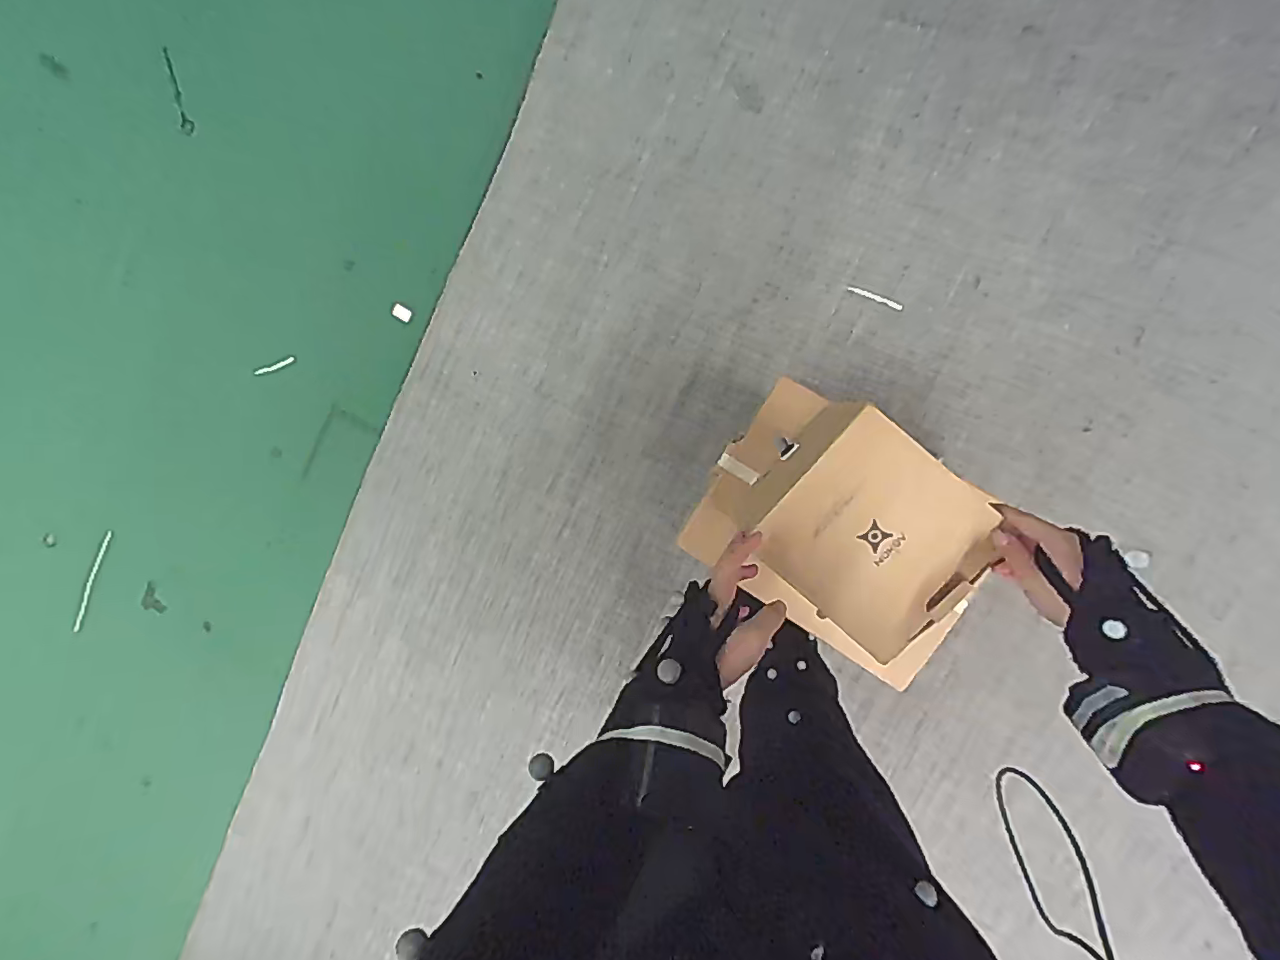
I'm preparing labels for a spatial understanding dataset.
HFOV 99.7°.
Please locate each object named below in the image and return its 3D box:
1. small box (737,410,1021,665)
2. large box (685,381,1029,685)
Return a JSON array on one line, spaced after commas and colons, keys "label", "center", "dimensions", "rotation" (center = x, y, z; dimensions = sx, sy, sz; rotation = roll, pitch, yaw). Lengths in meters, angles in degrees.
[{"label": "small box", "center": [0.218, 0.043, 0.551], "dimensions": [0.179, 0.176, 0.168], "rotation": [40, 99, 1]}, {"label": "large box", "center": [0.335, 0.071, 0.956], "dimensions": [0.408, 0.320, 0.320], "rotation": [33, 99, 7]}]
